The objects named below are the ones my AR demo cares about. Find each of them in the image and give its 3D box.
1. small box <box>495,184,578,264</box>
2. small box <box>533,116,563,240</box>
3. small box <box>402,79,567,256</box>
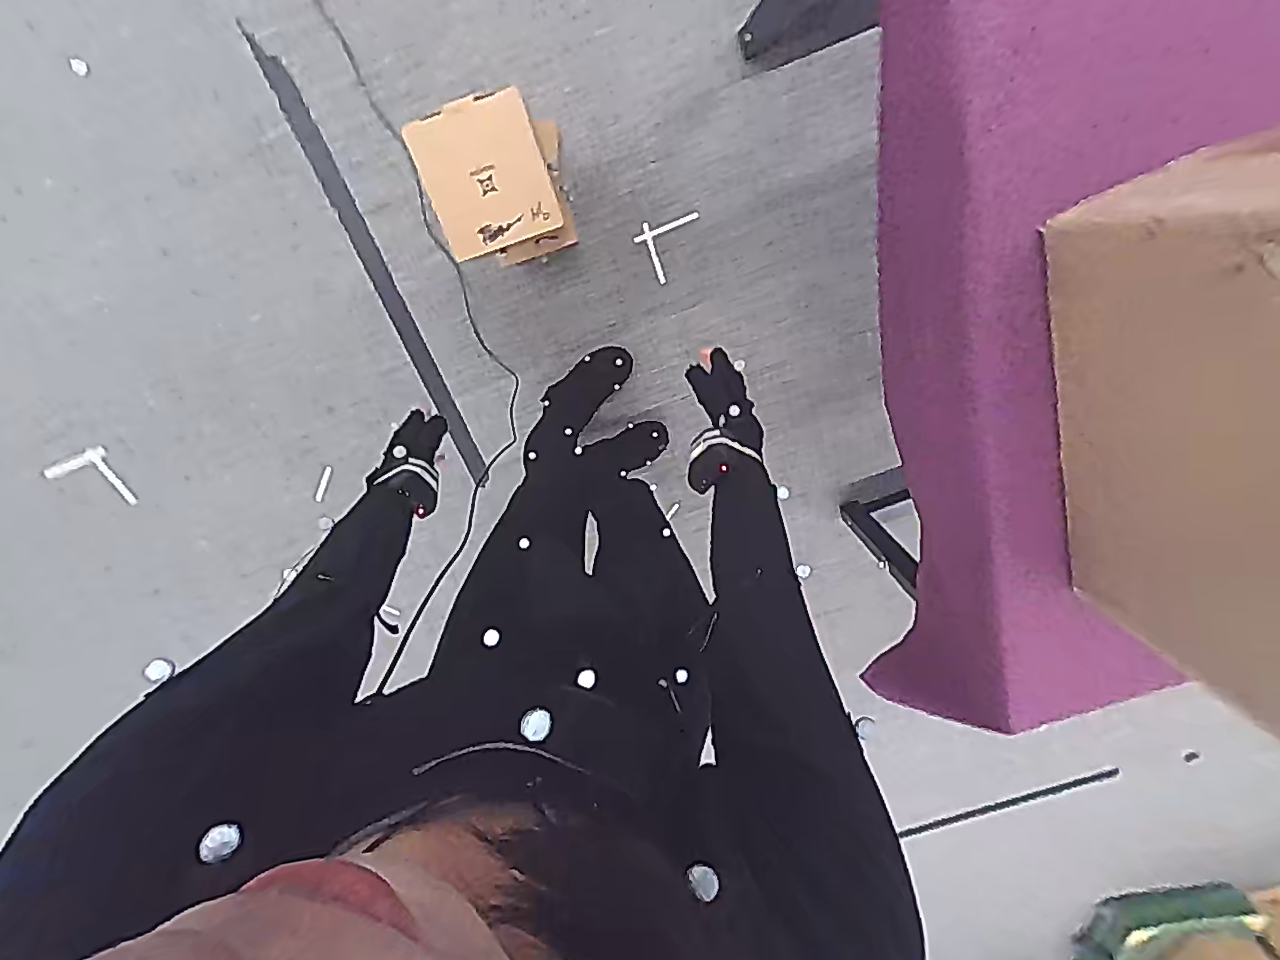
[{"bbox_3d":[-0.231,-0.555,1.104,0.168,0.176,0.179,-18,114,3],"label":"small box"},{"bbox_3d":[-0.222,-0.518,0.943,0.168,0.176,0.179,0,113,-6],"label":"small box"},{"bbox_3d":[-0.214,-0.443,0.797,0.168,0.176,0.179,-18,114,3],"label":"small box"}]
